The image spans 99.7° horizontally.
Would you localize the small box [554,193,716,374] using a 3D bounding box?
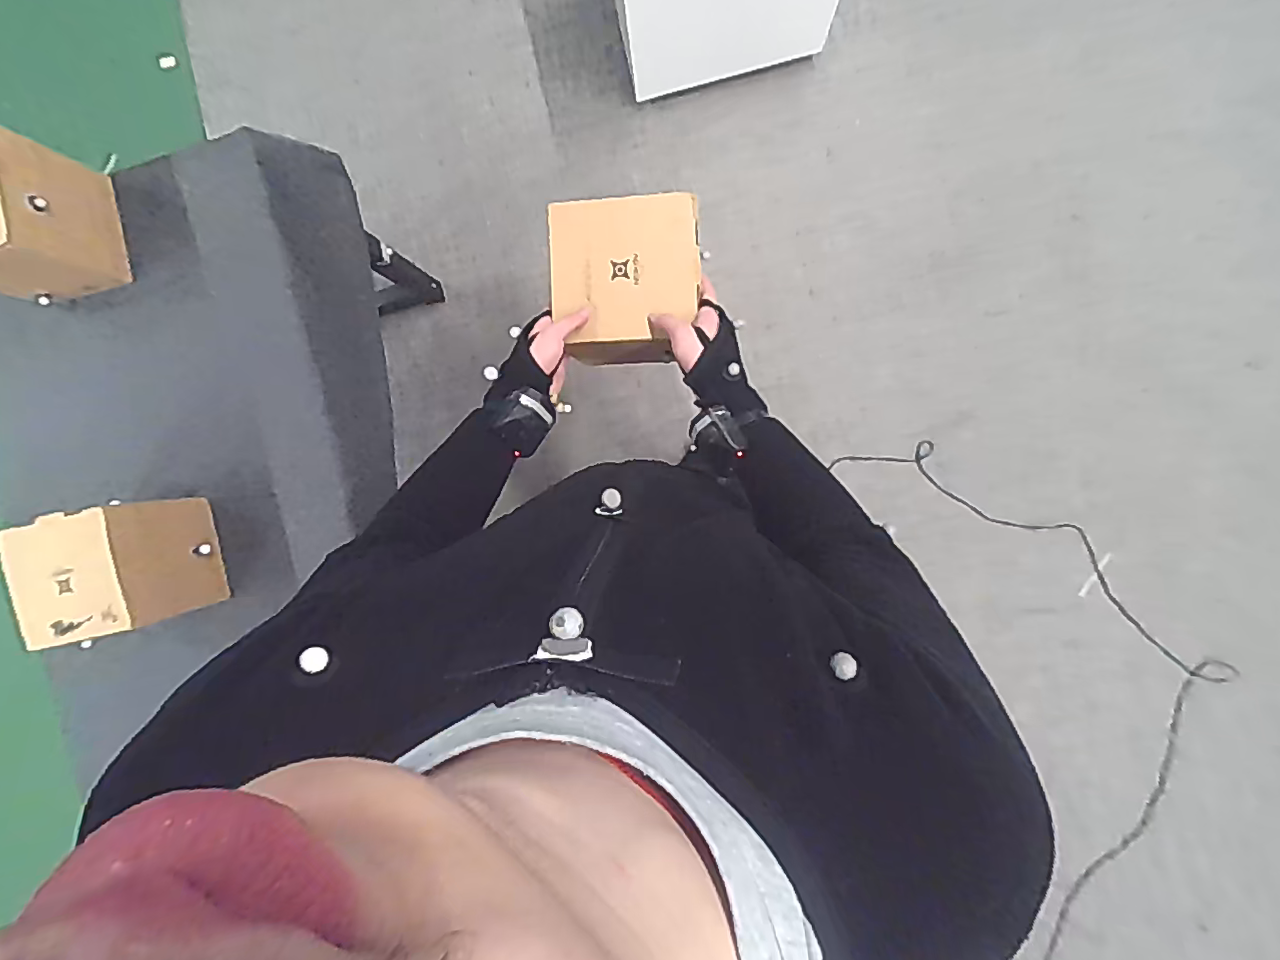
[{"bbox_3d":[0.000,-0.234,0.684,0.179,0.176,0.168,-4,91,6],"label":"small box"}]
